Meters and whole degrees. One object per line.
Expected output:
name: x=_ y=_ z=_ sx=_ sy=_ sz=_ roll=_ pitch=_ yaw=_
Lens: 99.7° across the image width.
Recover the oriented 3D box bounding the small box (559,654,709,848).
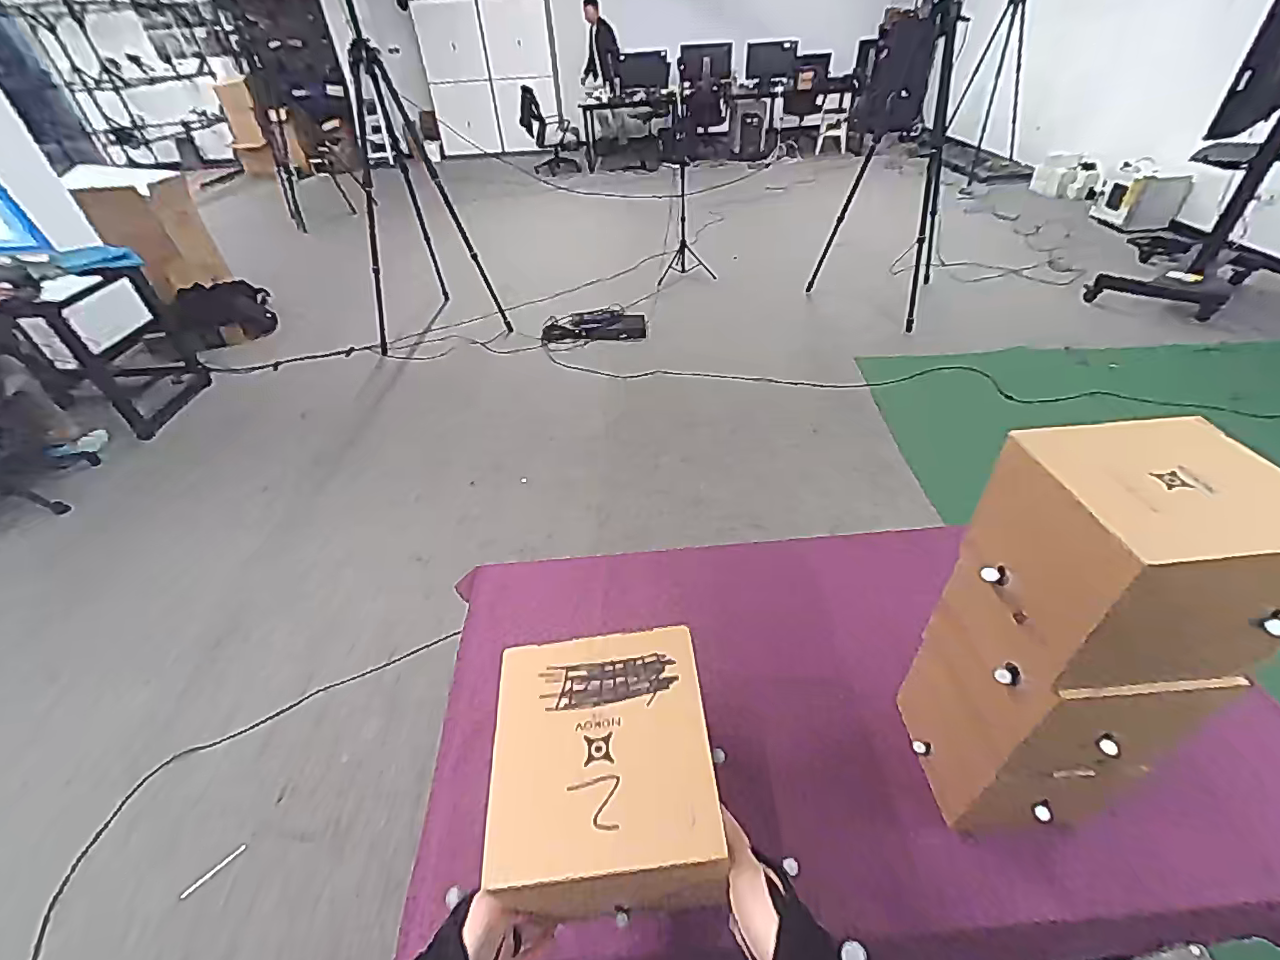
small box: x=-0.004 y=0.347 z=0.696 sx=0.168 sy=0.176 sz=0.179 roll=-3 pitch=42 yaw=2

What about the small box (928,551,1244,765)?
small box: x=0.448 y=0.190 z=0.586 sx=0.168 sy=0.176 sz=0.179 roll=-4 pitch=41 yaw=0

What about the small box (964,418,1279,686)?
small box: x=0.435 y=0.064 z=0.483 sx=0.179 sy=0.176 sz=0.168 roll=-5 pitch=40 yaw=1

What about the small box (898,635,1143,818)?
small box: x=0.461 y=0.315 z=0.694 sx=0.168 sy=0.176 sz=0.179 roll=-3 pitch=42 yaw=1
